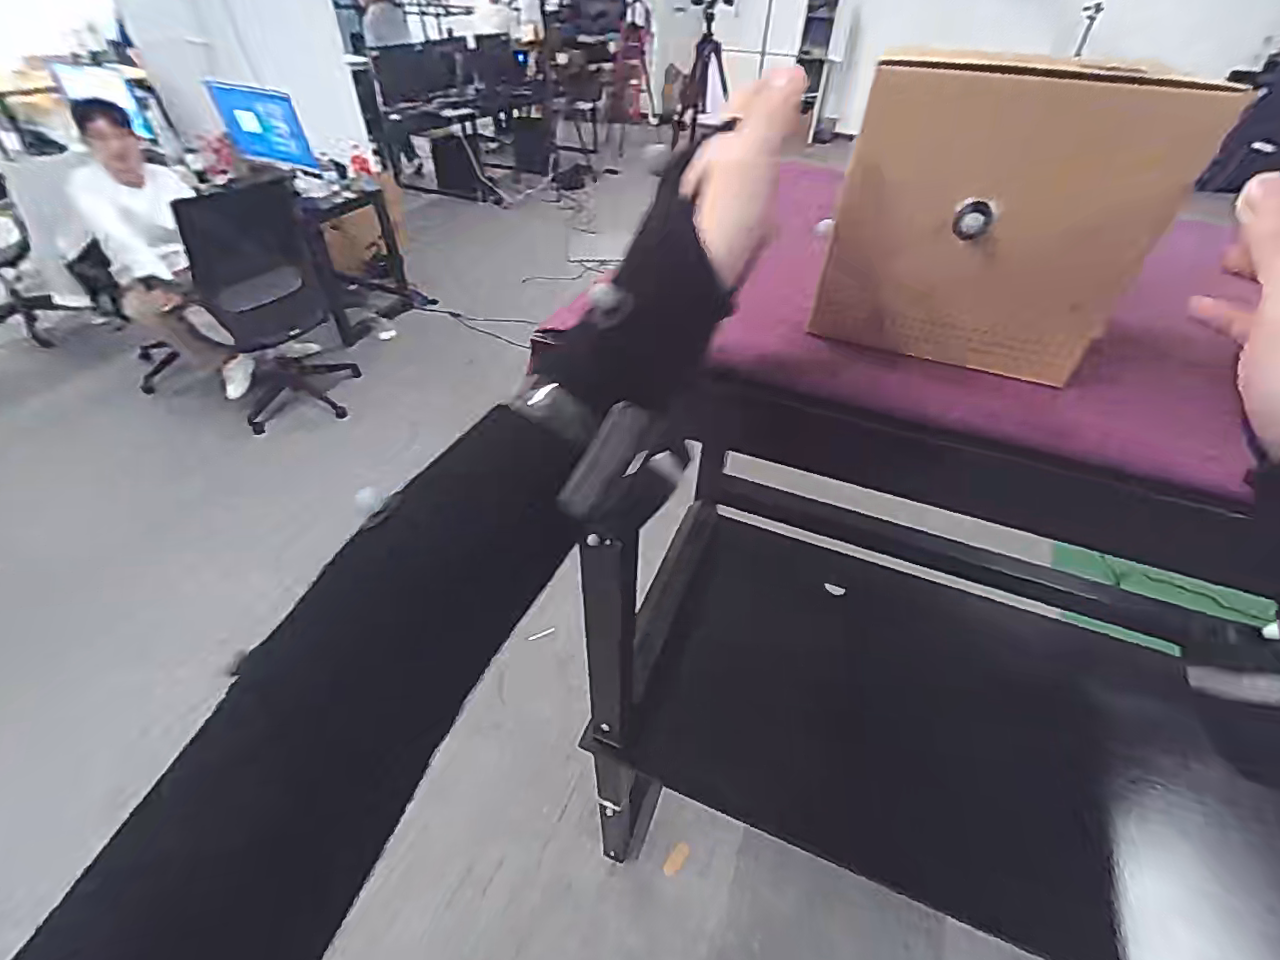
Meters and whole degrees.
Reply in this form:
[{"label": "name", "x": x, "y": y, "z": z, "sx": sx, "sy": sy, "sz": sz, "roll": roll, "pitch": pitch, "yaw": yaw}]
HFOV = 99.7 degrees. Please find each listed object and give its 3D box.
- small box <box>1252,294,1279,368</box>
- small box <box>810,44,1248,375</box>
[{"label": "small box", "x": 0.521, "y": -0.104, "z": 0.301, "sx": 0.168, "sy": 0.176, "sz": 0.179, "roll": 18, "pitch": 45, "yaw": 18}, {"label": "small box", "x": 0.239, "y": -0.194, "z": 0.387, "sx": 0.179, "sy": 0.176, "sz": 0.168, "roll": 17, "pitch": 44, "yaw": 16}]
